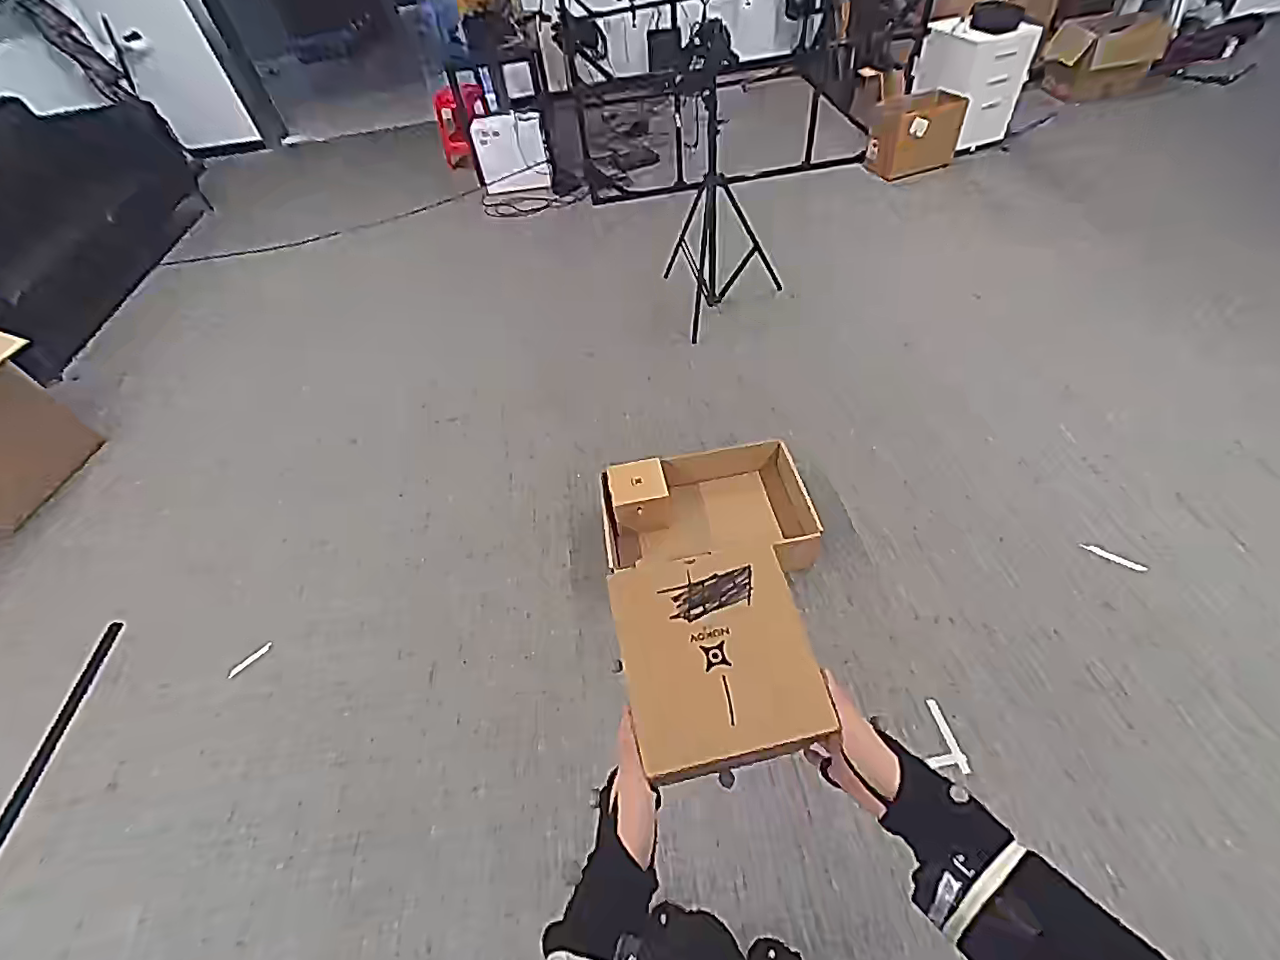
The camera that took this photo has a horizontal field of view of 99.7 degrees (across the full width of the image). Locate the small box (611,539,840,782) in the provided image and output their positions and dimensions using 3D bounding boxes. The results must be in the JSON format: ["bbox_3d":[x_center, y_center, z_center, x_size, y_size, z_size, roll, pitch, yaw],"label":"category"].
[{"bbox_3d":[0.069,0.186,0.543,0.168,0.176,0.179,-12,58,-4],"label":"small box"}]
